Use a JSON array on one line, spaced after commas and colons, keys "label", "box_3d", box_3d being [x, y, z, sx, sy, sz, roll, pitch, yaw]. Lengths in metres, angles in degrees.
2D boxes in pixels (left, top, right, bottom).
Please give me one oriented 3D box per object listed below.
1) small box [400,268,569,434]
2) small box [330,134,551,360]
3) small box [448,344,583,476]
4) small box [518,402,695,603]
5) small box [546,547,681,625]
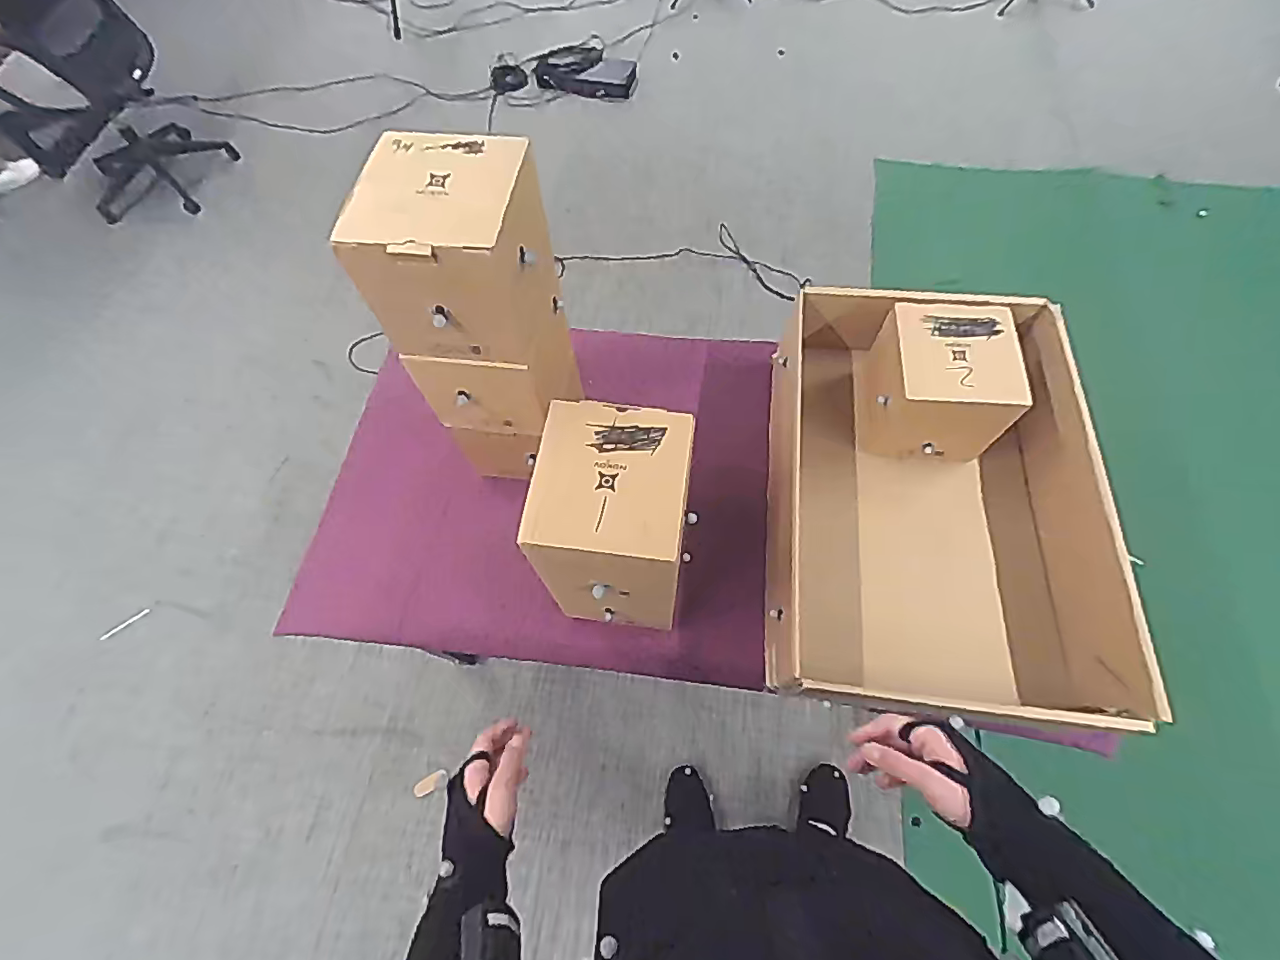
[{"label": "small box", "box_3d": [-0.203, -0.182, 0.766, 0.168, 0.176, 0.179, 6, 64, 5]}, {"label": "small box", "box_3d": [-0.207, -0.258, 0.620, 0.168, 0.176, 0.179, 5, 65, 4]}, {"label": "small box", "box_3d": [-0.196, -0.115, 0.913, 0.168, 0.176, 0.179, 6, 64, 5]}, {"label": "small box", "box_3d": [-0.030, 0.033, 0.647, 0.168, 0.176, 0.179, 7, 64, 6]}, {"label": "small box", "box_3d": [-0.026, 0.105, 0.794, 0.168, 0.176, 0.179, 7, 64, 5]}]
